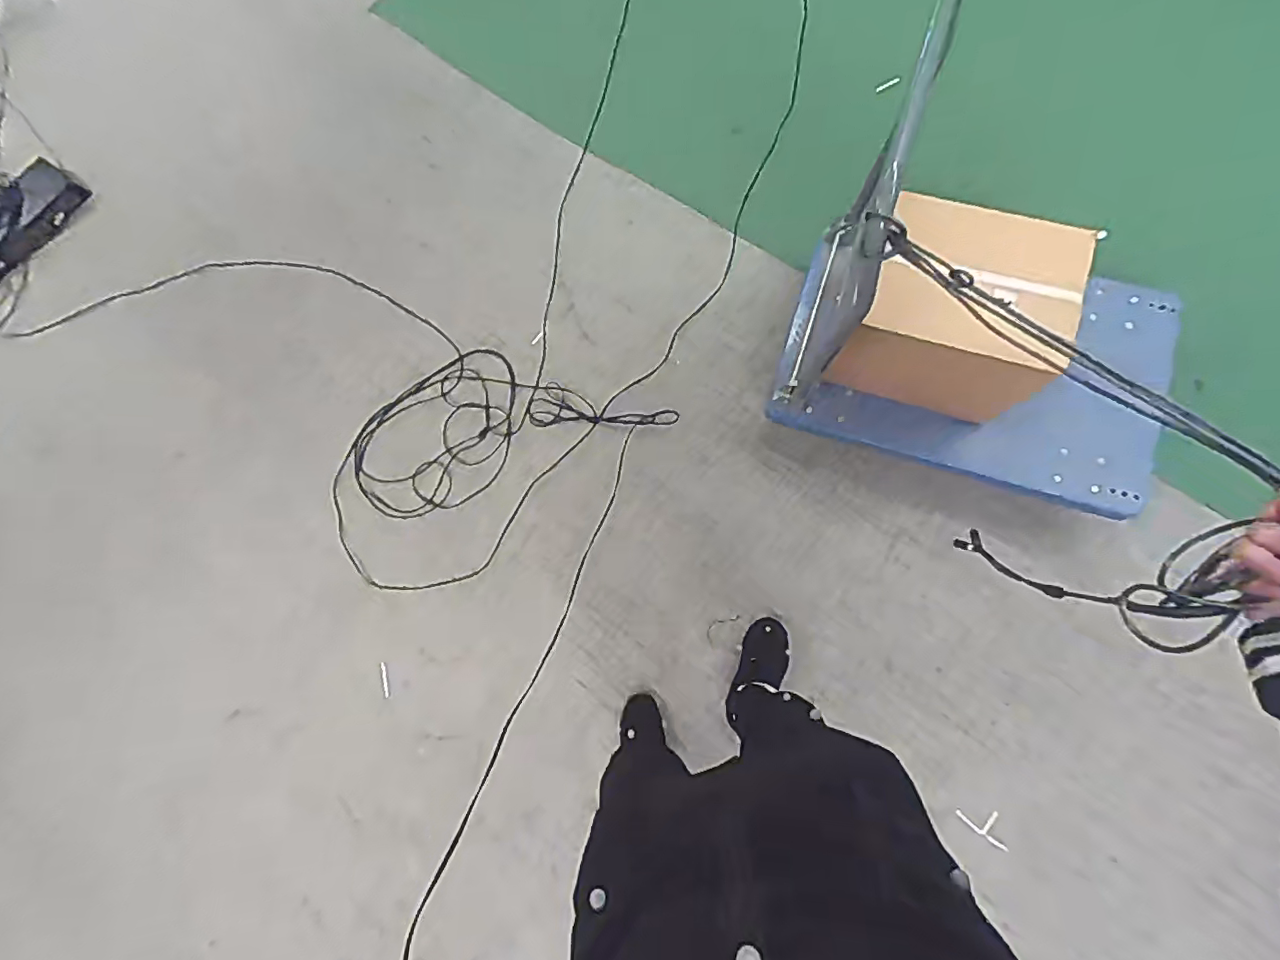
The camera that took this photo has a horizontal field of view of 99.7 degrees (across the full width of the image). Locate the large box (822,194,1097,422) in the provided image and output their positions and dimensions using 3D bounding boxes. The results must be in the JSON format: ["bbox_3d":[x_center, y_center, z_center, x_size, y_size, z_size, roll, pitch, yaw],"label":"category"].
[{"bbox_3d":[0.664,-0.360,1.194,0.408,0.320,0.320,17,81,9],"label":"large box"}]
